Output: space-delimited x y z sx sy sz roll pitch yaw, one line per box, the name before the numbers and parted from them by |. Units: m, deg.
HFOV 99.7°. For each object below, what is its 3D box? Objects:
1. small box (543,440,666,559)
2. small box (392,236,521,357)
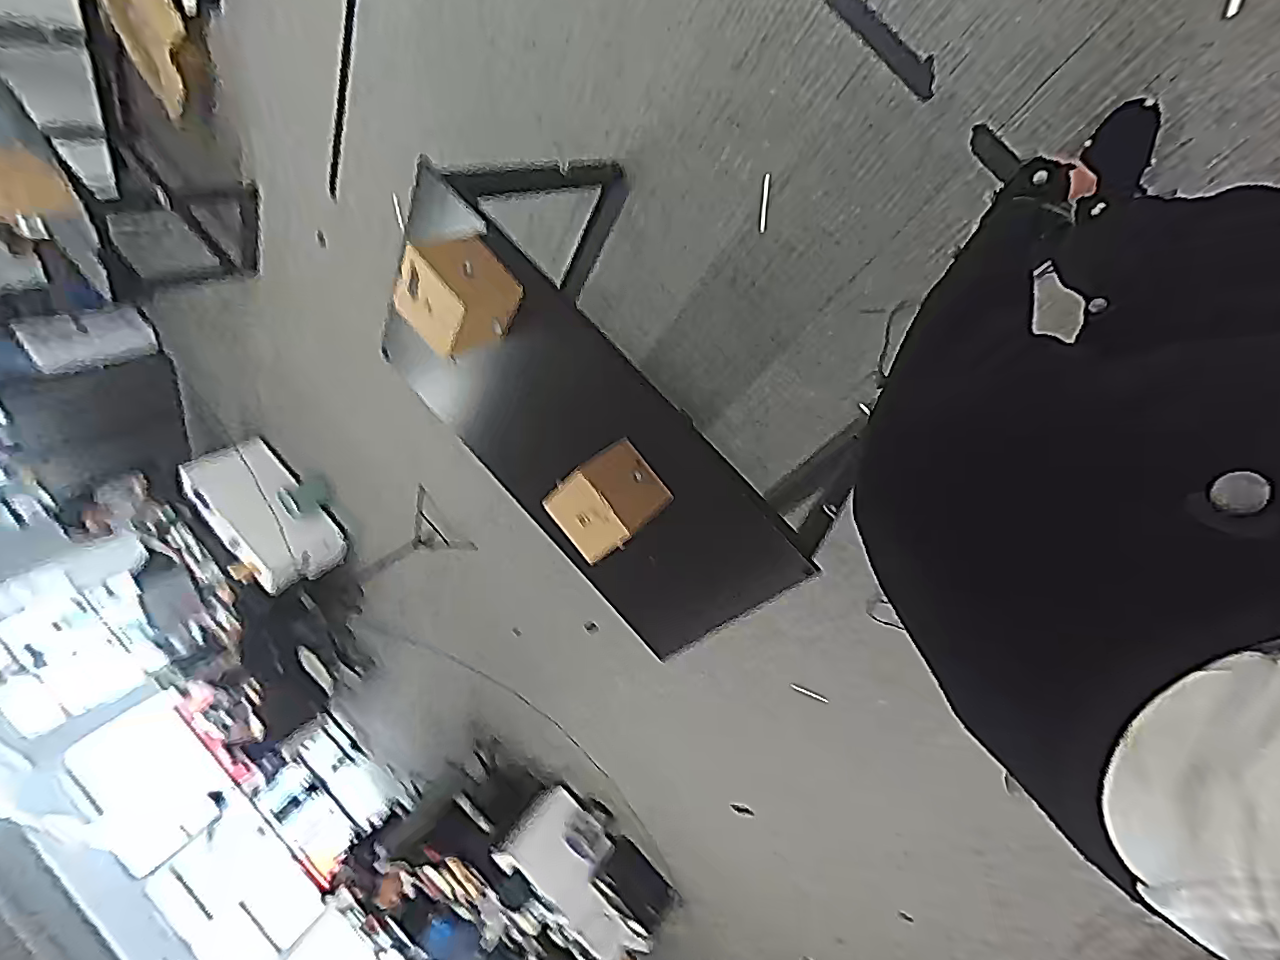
small box | -0.074 0.042 1.190 0.168 0.176 0.179 51 135 0
small box | -0.391 -0.399 1.160 0.179 0.176 0.168 48 136 1
